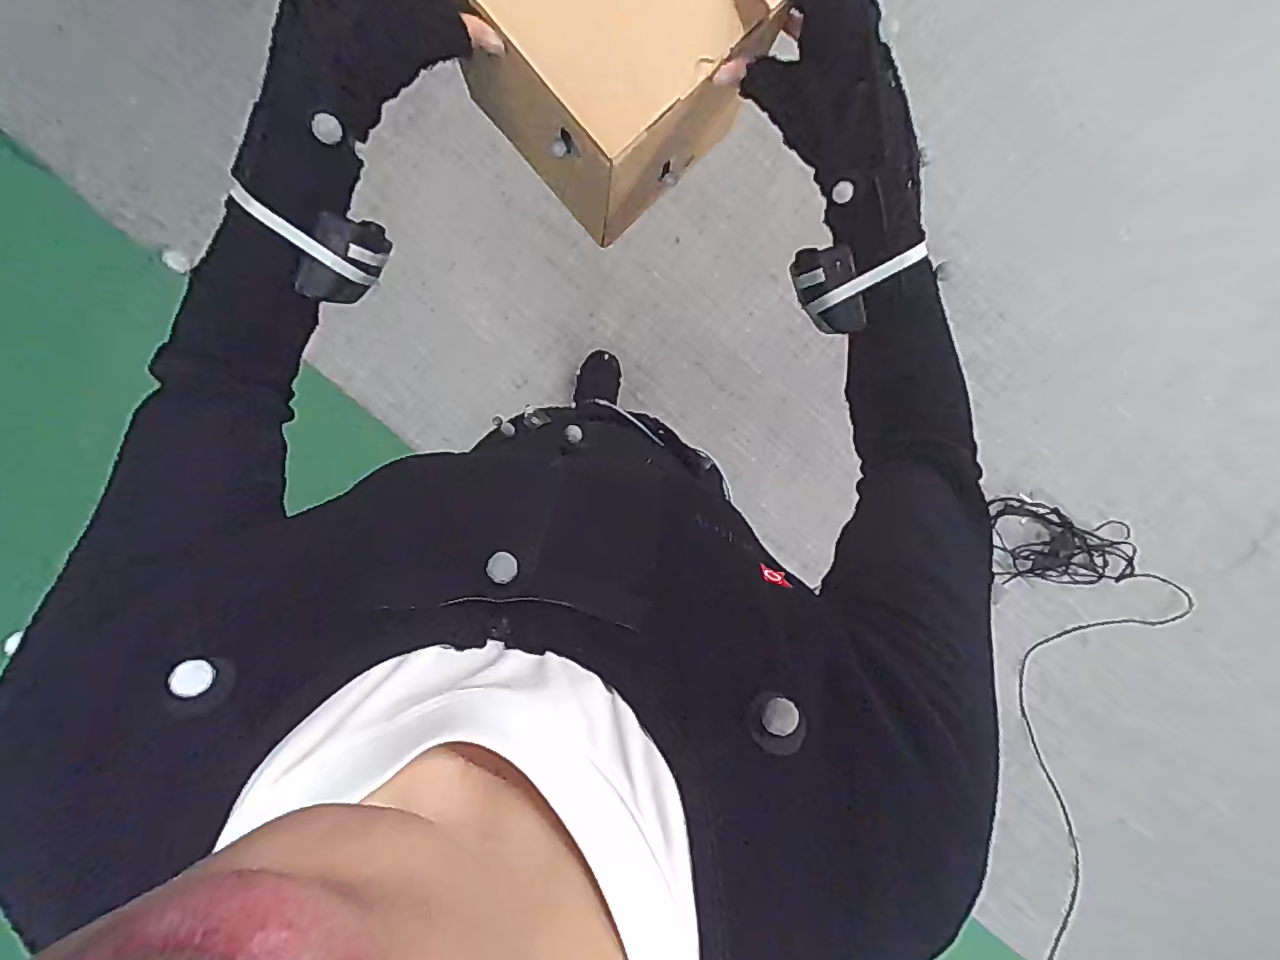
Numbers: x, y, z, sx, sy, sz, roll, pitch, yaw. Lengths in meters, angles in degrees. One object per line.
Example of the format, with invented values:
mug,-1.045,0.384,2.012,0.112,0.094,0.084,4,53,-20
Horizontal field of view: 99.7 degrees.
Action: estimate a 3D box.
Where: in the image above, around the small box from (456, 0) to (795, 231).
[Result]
small box,-0.024,-0.331,0.415,0.168,0.176,0.179,-43,100,-1
